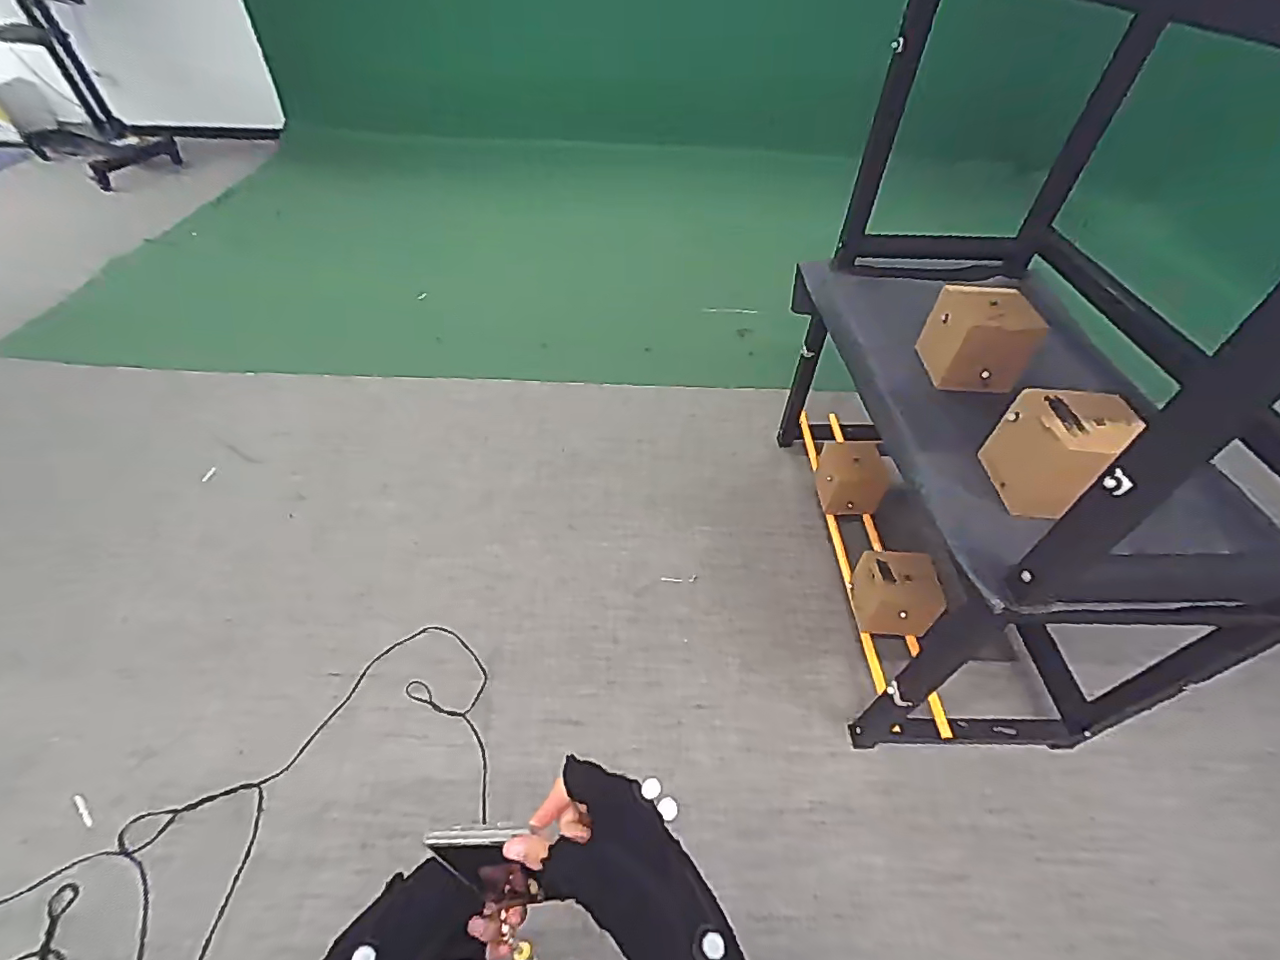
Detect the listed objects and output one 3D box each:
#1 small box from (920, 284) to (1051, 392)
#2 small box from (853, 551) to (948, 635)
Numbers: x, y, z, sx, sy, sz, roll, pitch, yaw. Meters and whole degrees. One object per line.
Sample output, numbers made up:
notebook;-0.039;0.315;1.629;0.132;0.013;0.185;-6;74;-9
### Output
small box;0.763;-0.321;1.221;0.168;0.176;0.179;3;47;1
small box;0.700;0.312;1.482;0.179;0.176;0.168;3;47;2
